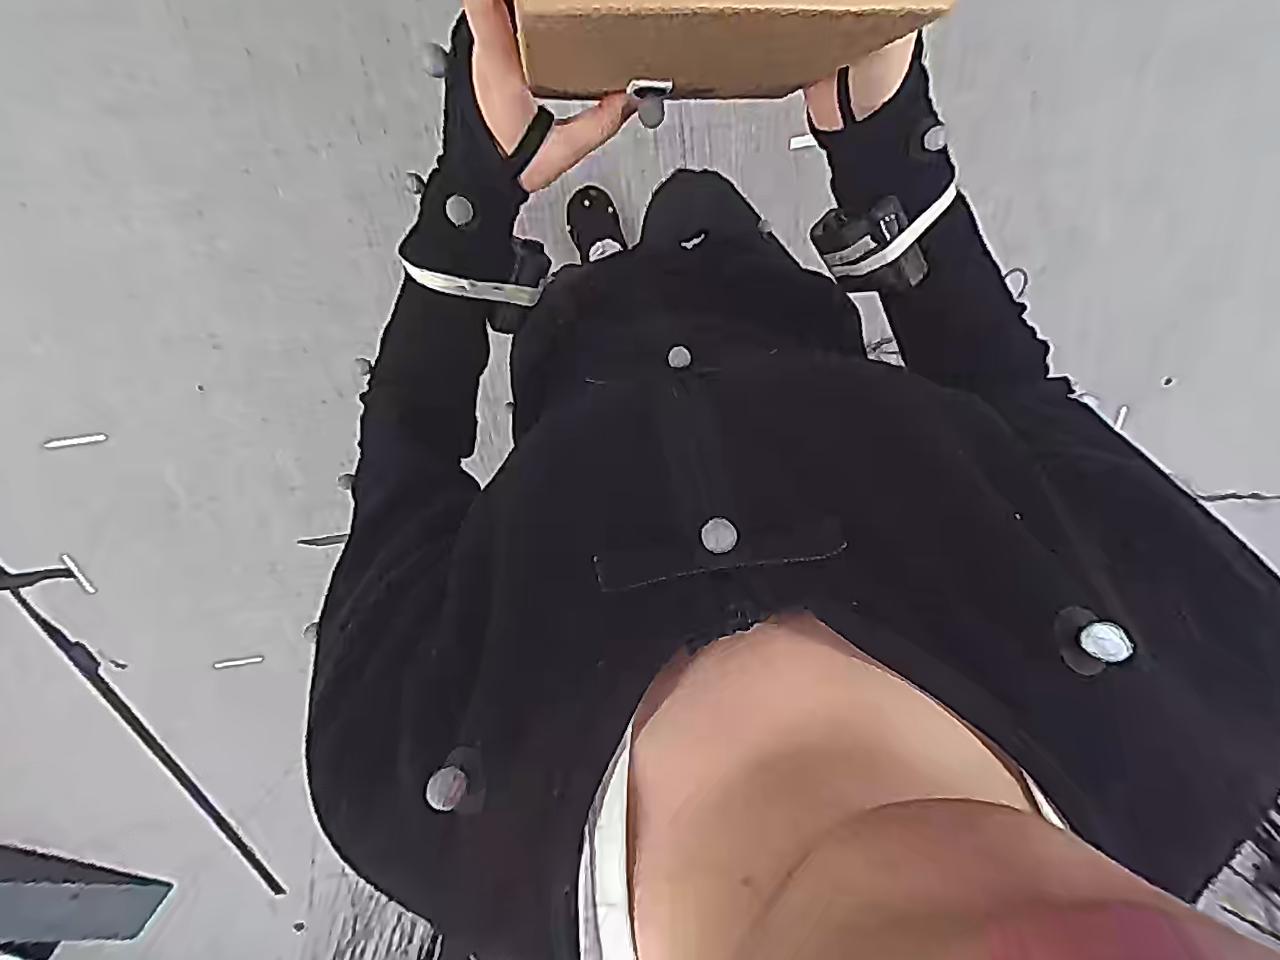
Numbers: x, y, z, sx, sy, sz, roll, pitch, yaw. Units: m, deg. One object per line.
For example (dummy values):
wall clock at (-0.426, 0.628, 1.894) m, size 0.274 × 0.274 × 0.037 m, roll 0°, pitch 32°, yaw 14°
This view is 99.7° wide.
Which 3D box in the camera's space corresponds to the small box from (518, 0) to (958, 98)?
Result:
small box at (0.025, -0.281, 0.224) m, size 0.168 × 0.176 × 0.179 m, roll -6°, pitch 117°, yaw -6°
